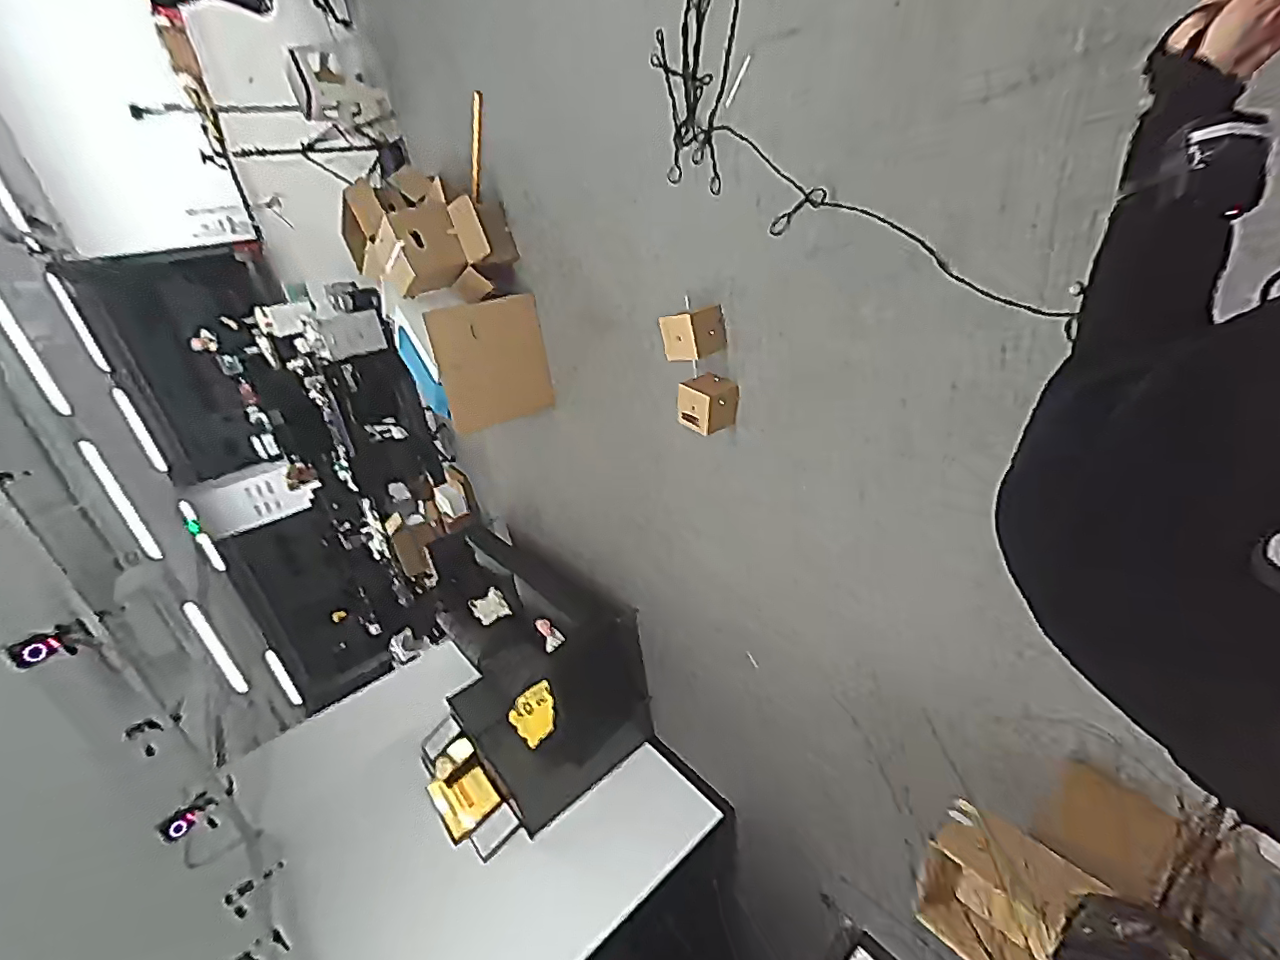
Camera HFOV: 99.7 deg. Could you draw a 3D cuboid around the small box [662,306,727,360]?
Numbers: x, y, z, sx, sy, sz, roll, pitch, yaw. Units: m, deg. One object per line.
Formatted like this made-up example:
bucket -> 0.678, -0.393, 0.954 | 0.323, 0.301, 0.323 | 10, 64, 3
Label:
small box -> 0.214, -0.559, 2.056 | 0.179, 0.176, 0.168 | 15, 124, 52
